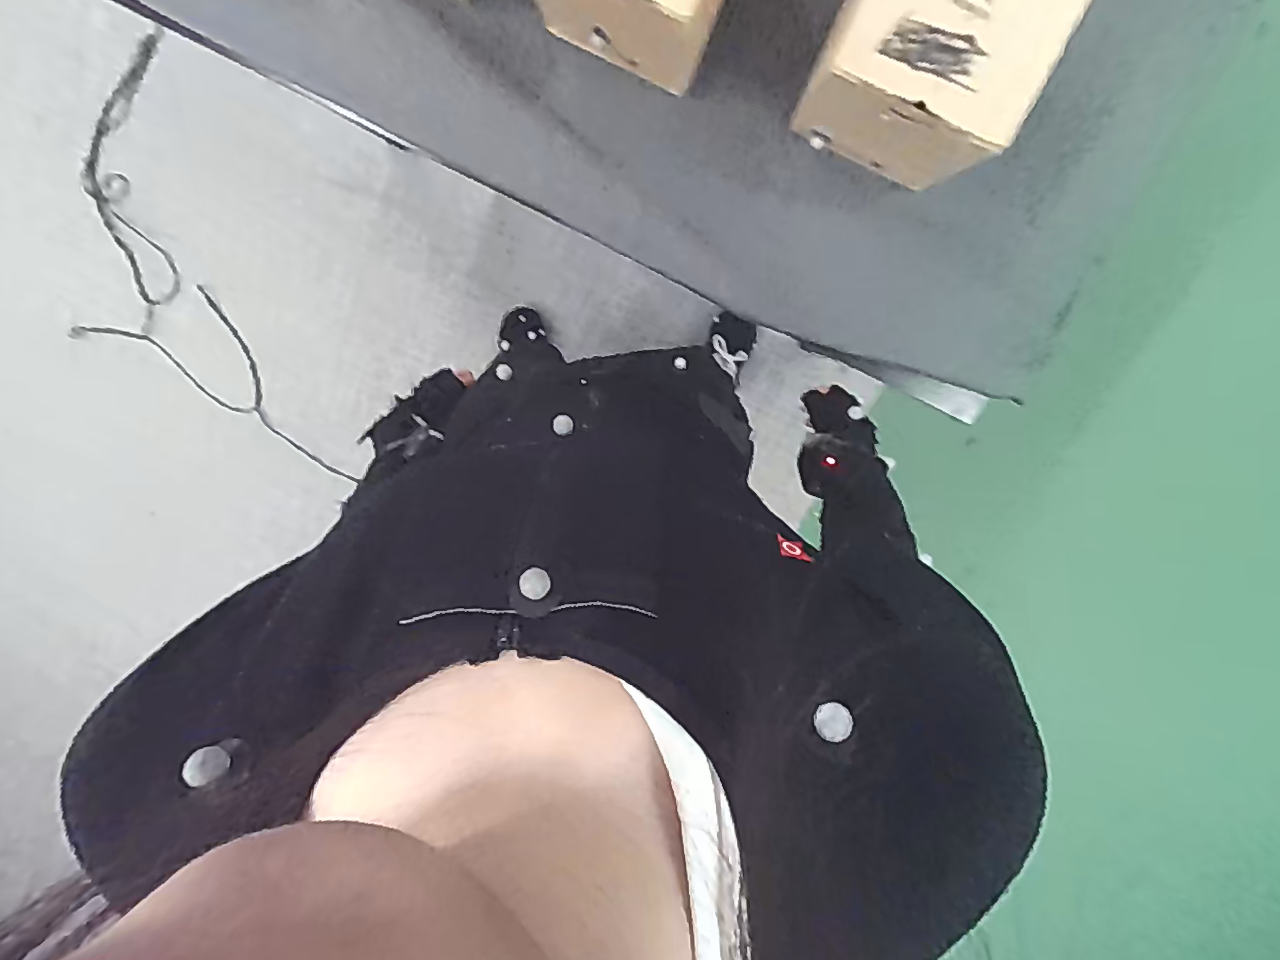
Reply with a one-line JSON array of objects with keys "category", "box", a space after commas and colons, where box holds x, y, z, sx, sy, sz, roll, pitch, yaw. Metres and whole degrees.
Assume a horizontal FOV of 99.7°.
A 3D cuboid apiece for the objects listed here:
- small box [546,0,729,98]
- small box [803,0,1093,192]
[{"category": "small box", "box": [0.009, -0.503, 0.496, 0.168, 0.176, 0.179, 23, 108, -5]}, {"category": "small box", "box": [0.274, -0.404, 0.513, 0.168, 0.176, 0.179, 23, 107, -5]}]
